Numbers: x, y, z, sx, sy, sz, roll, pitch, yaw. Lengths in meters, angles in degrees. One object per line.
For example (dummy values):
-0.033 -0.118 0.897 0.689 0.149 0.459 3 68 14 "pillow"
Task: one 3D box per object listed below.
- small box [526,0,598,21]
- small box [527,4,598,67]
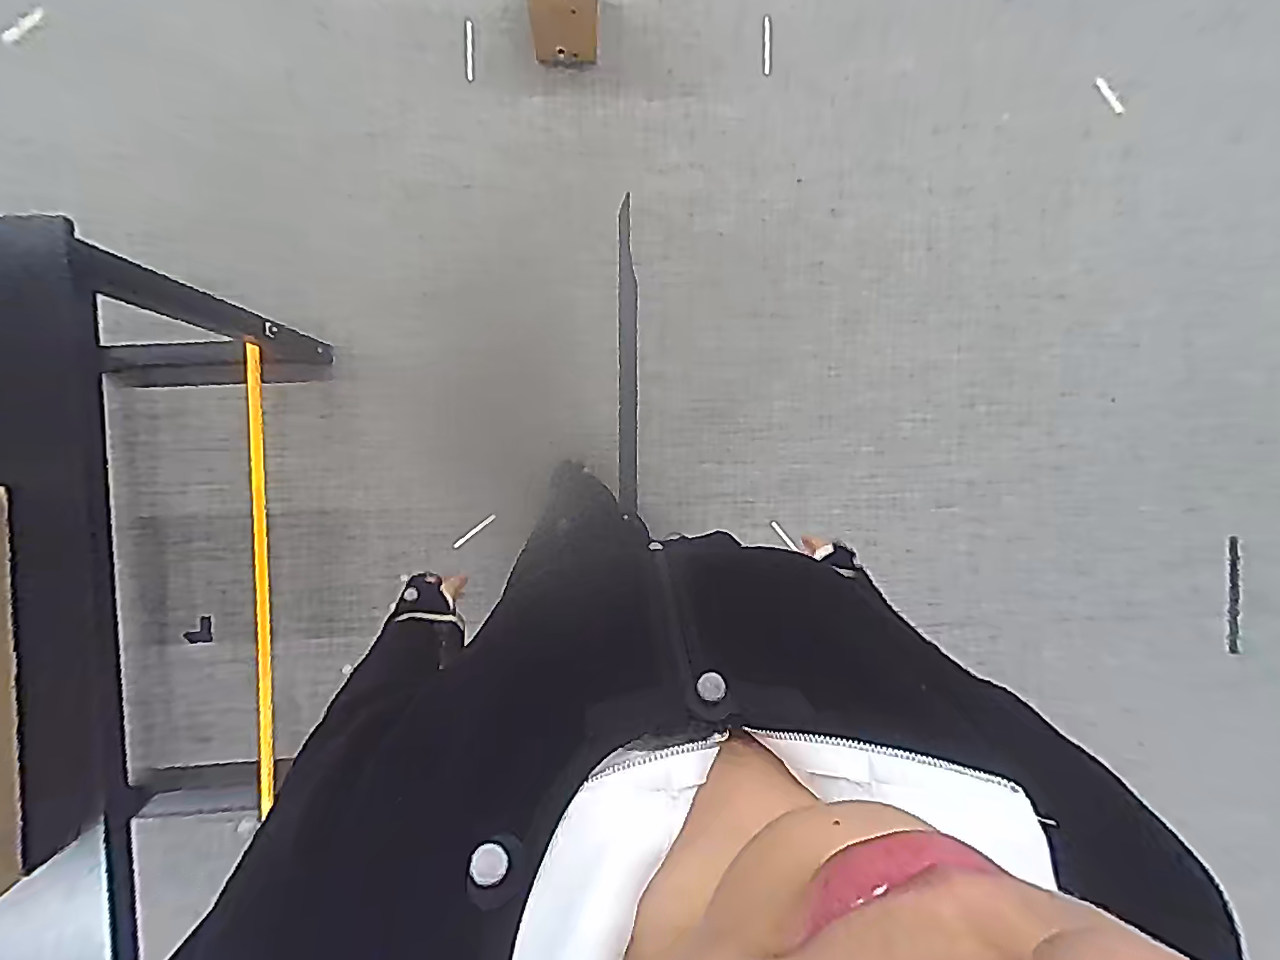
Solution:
-0.178 -1.167 1.196 0.168 0.176 0.179 -1 92 -3 "small box"
-0.192 -1.188 1.358 0.168 0.176 0.179 -3 93 -3 "small box"
